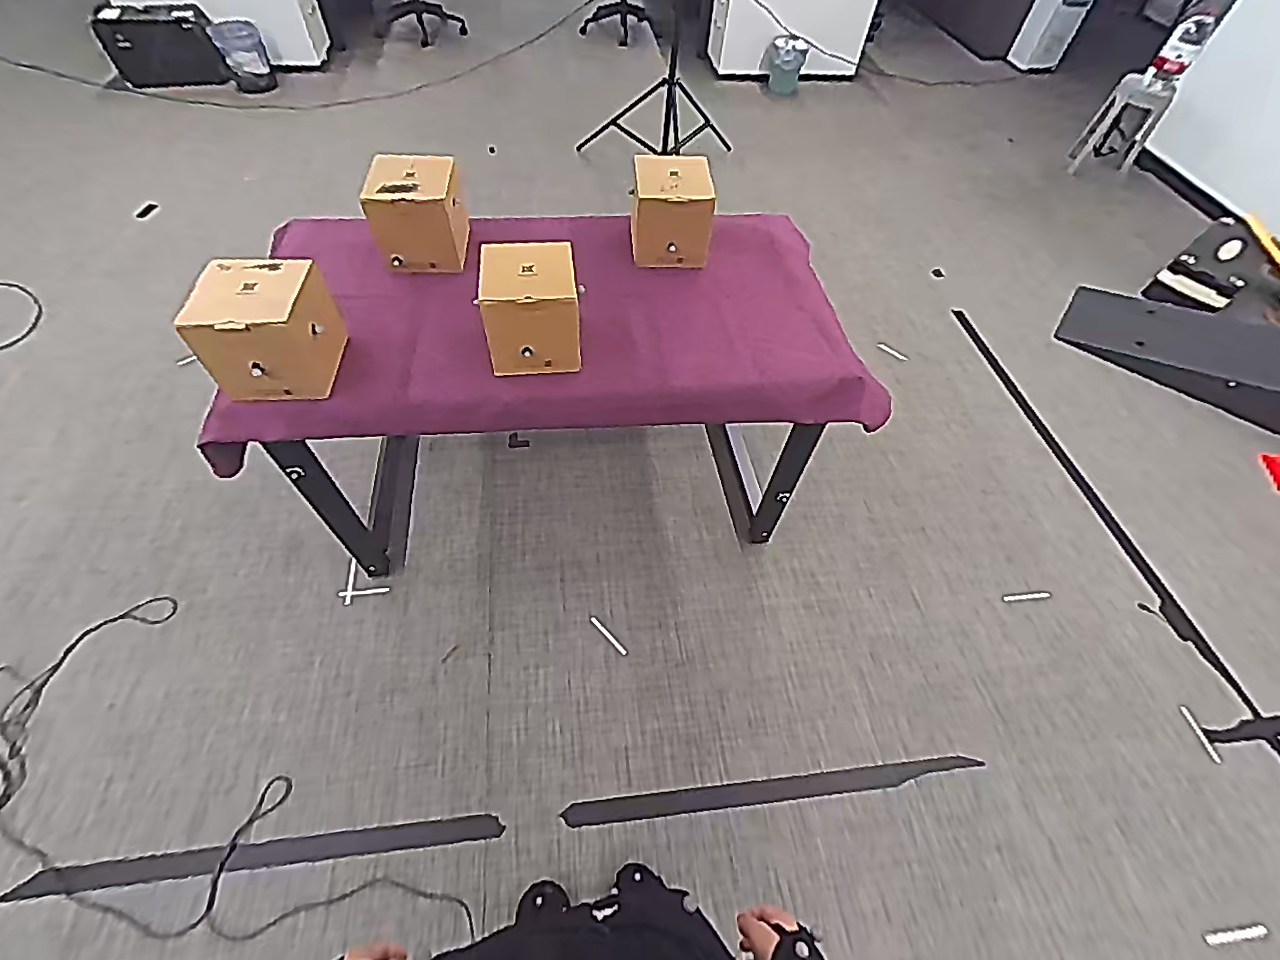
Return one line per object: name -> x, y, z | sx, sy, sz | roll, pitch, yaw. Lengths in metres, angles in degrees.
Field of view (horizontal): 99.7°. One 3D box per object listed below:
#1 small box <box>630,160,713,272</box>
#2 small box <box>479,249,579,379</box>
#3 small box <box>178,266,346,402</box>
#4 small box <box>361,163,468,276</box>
small box -> 0.064, -0.605, 1.246 | 0.168, 0.176, 0.179 | -2, 57, -4
small box -> -0.206, -0.314, 1.027 | 0.168, 0.176, 0.179 | -5, 54, -8
small box -> -0.642, -0.249, 0.948 | 0.168, 0.176, 0.179 | -3, 55, -7
small box -> -0.481, -0.565, 1.182 | 0.168, 0.176, 0.179 | -2, 56, -6
